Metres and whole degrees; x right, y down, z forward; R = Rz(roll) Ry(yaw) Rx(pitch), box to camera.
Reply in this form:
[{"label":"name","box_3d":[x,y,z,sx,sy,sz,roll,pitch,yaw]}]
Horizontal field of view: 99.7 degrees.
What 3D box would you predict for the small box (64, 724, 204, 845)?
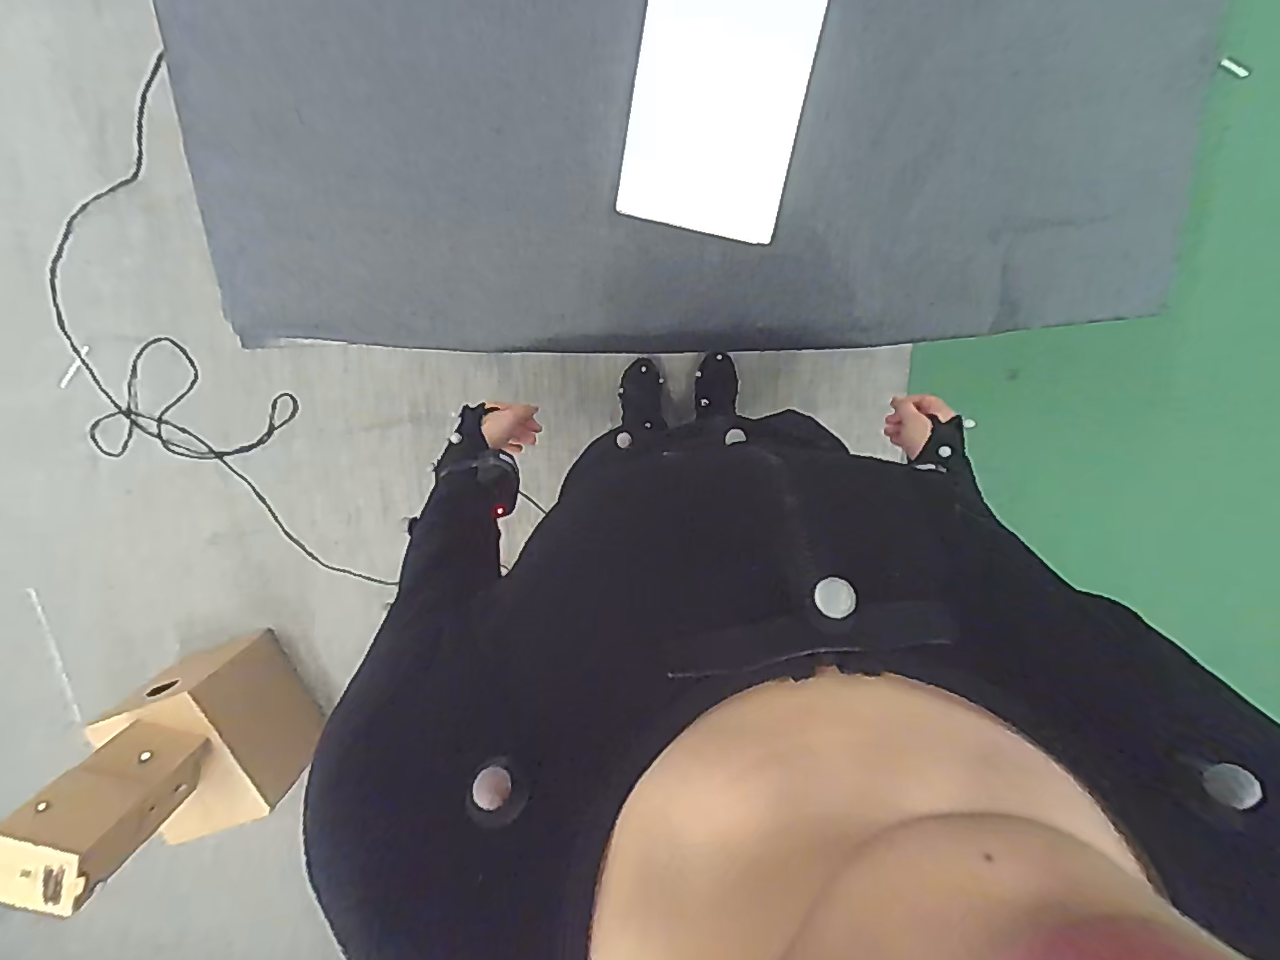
[{"label":"small box","box_3d":[-1.188,0.714,1.282,0.179,0.176,0.168,19,103,-7]}]
